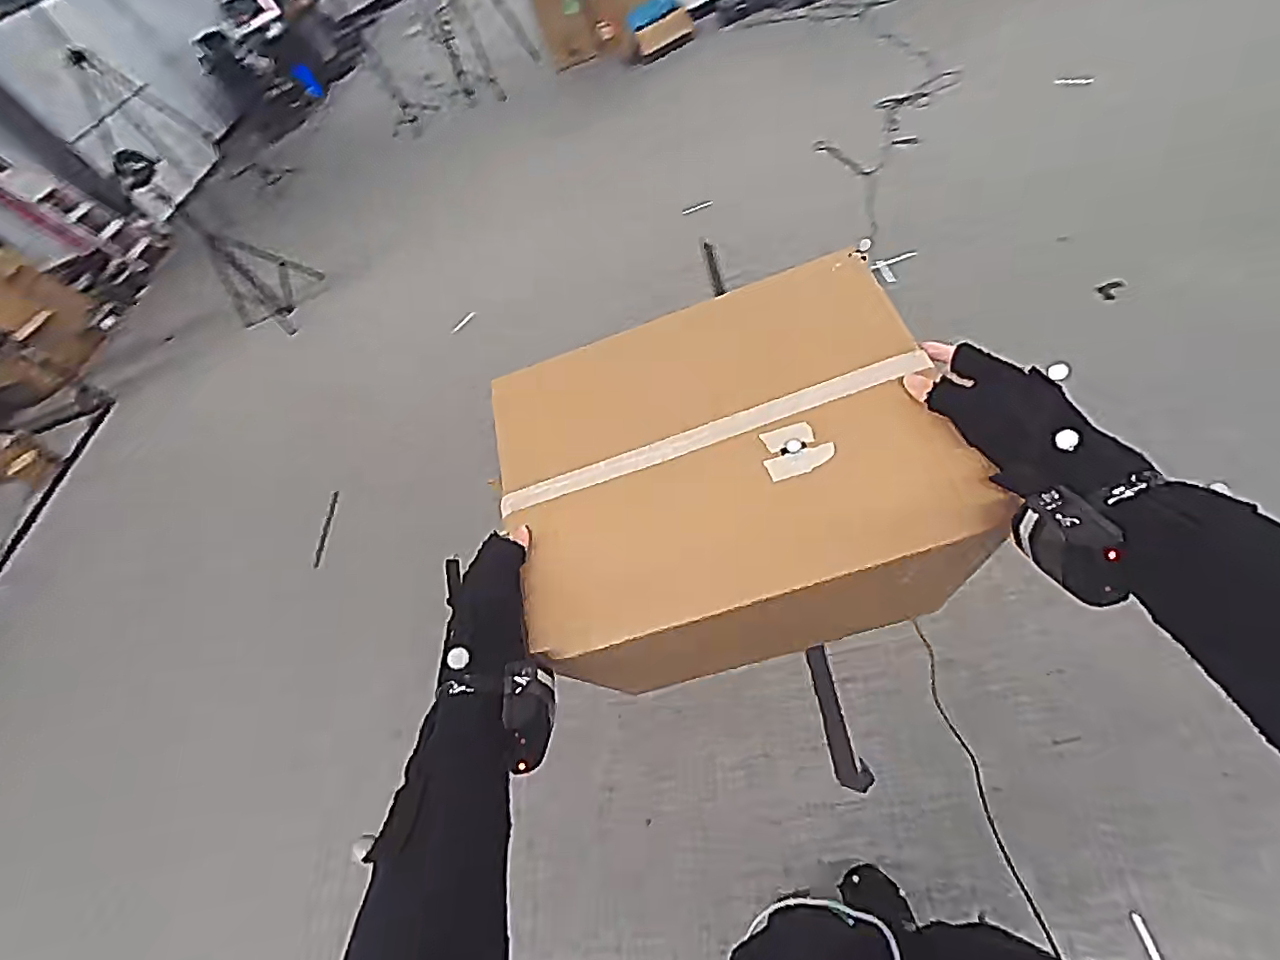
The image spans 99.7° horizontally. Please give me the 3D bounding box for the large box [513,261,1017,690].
[{"bbox_3d":[0.111,0.026,0.640,0.408,0.320,0.320,-18,61,7],"label":"large box"}]
